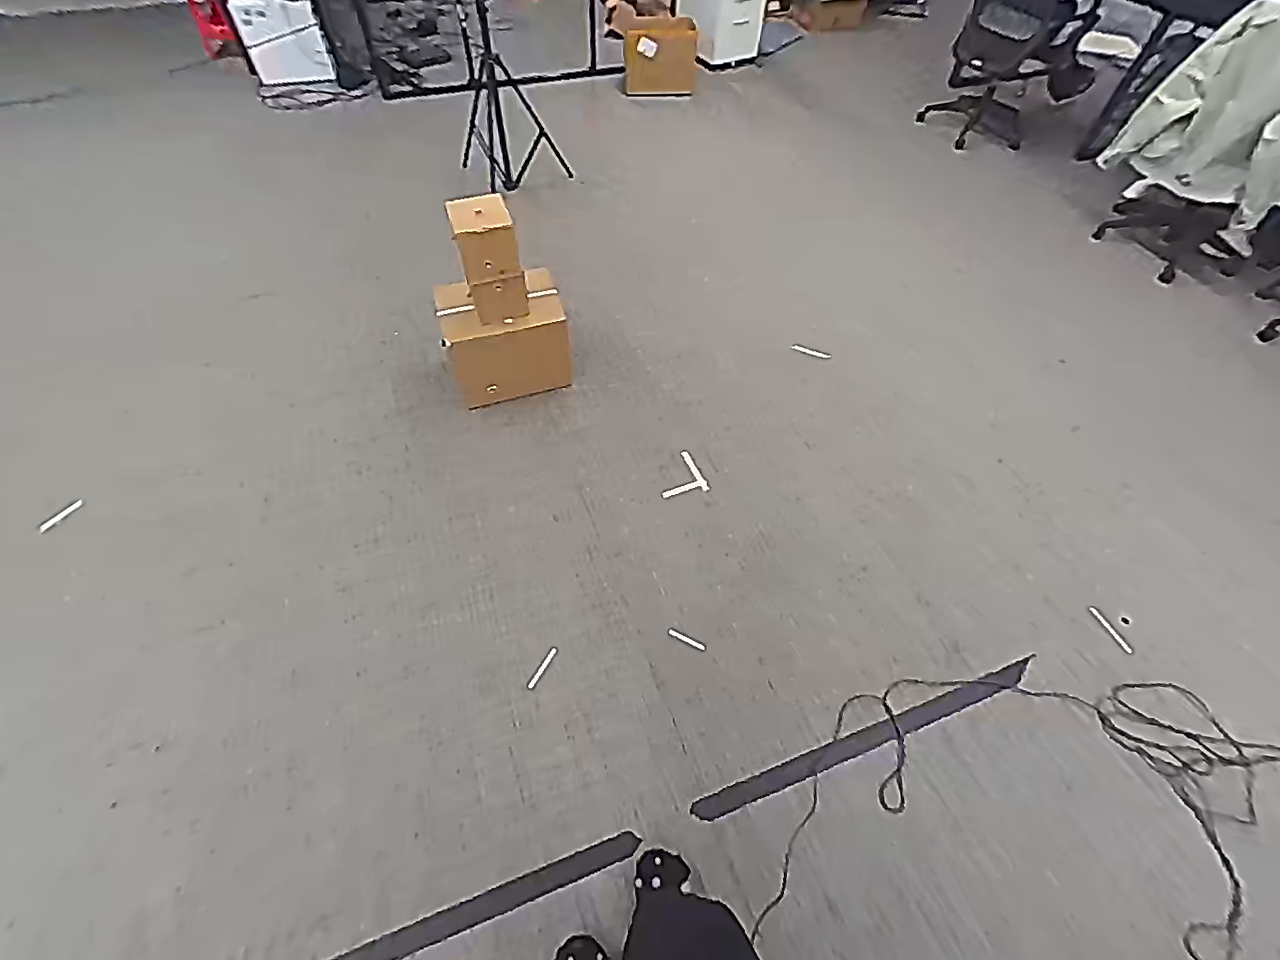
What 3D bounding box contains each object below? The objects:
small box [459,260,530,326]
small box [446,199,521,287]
[{"bbox_3d":[-0.472,-0.626,1.766,0.179,0.176,0.168,-17,59,-15],"label":"small box"},{"bbox_3d":[-0.468,-0.711,1.627,0.168,0.176,0.179,-17,59,-13],"label":"small box"}]
